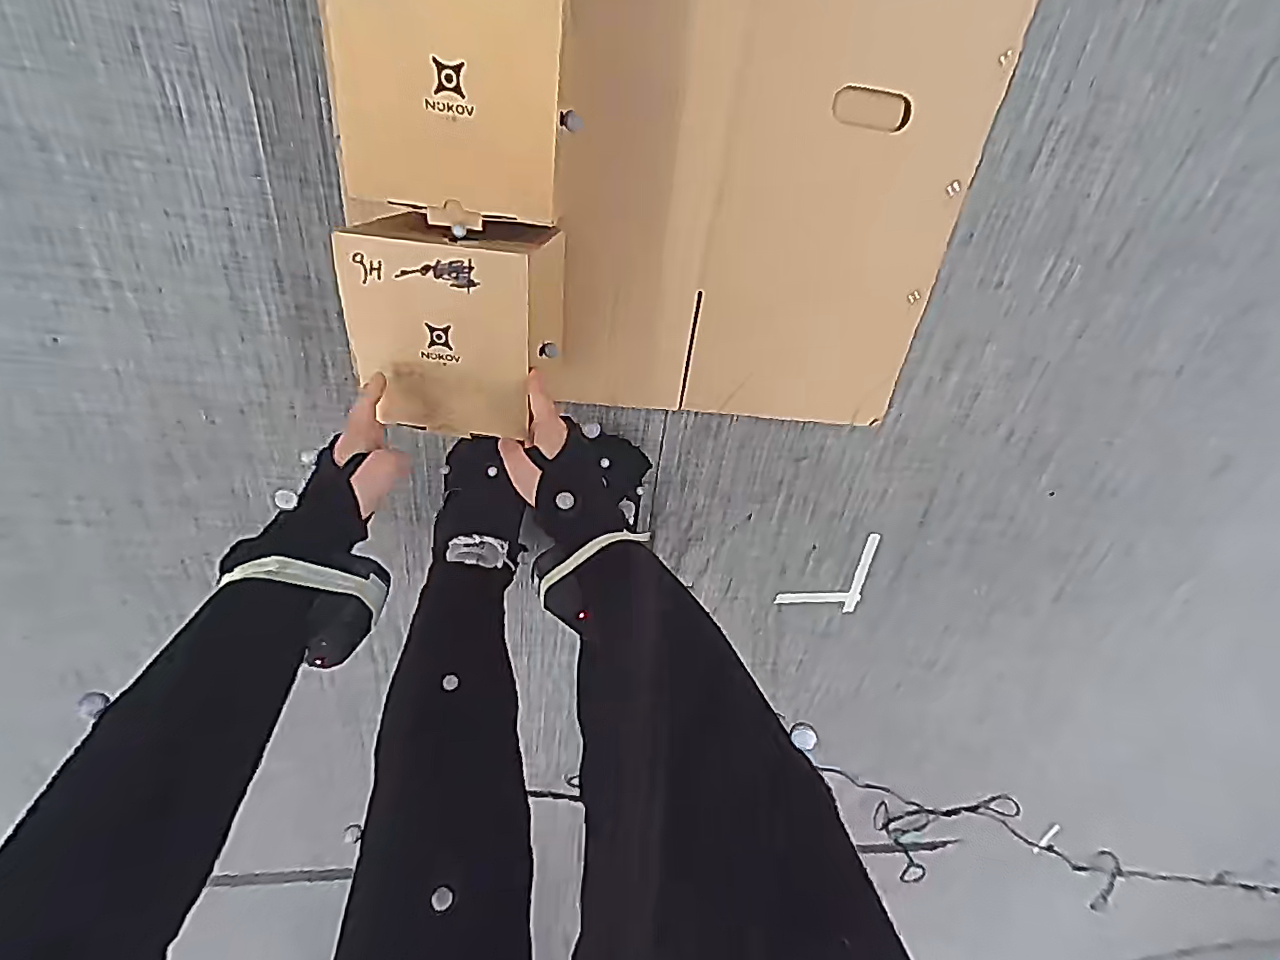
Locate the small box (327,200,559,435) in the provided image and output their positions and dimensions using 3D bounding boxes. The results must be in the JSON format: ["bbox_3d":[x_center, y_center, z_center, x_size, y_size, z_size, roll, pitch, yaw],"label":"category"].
[{"bbox_3d":[-0.176,-0.168,0.548,0.168,0.176,0.179,6,123,-2],"label":"small box"}]
